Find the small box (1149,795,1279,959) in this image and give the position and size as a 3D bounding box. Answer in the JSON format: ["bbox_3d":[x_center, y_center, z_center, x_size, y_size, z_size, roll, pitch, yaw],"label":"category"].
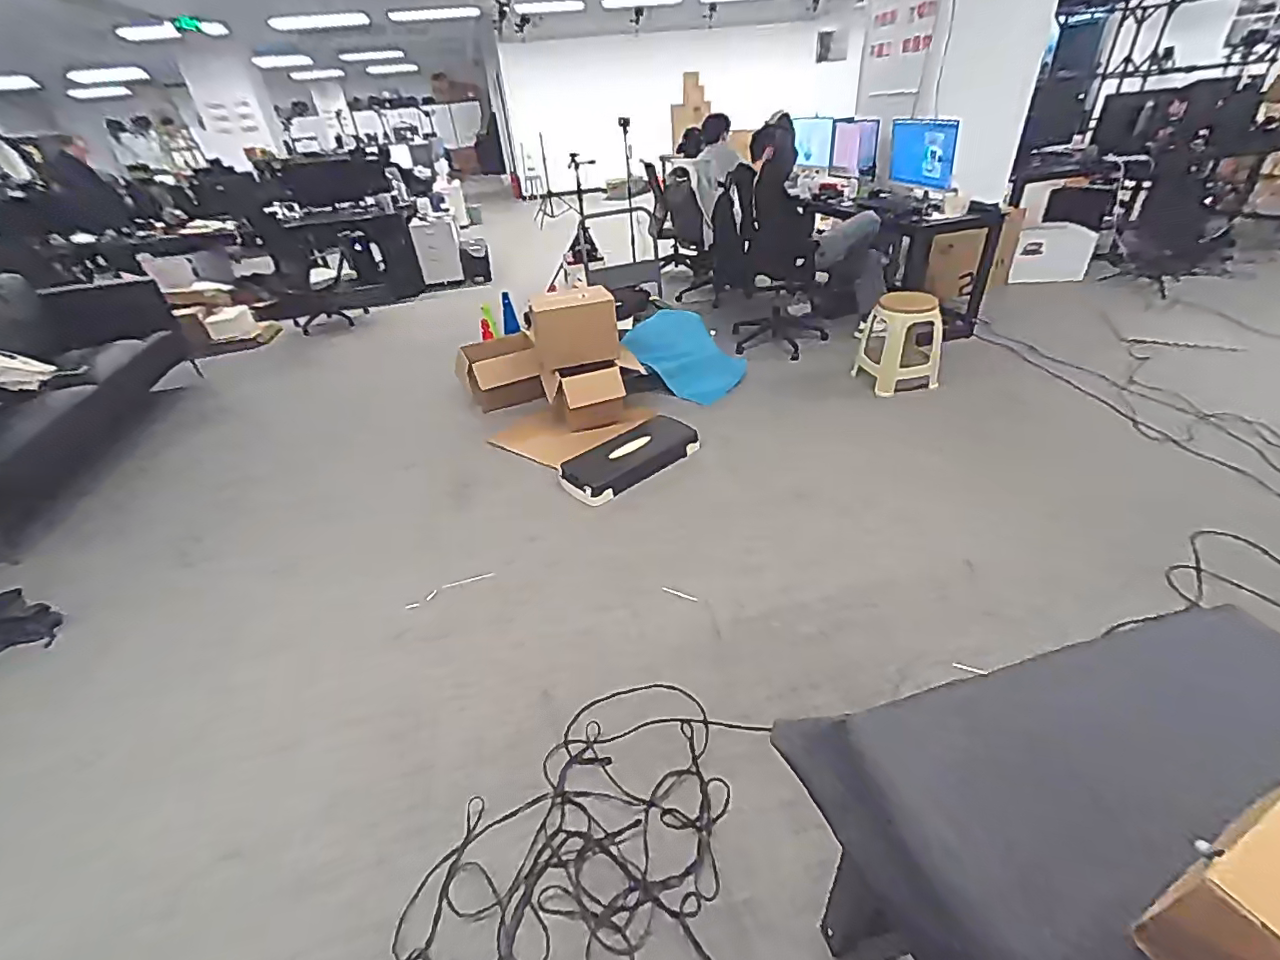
[{"bbox_3d":[0.552,0.360,0.412,0.179,0.176,0.168,-27,39,-15],"label":"small box"}]
